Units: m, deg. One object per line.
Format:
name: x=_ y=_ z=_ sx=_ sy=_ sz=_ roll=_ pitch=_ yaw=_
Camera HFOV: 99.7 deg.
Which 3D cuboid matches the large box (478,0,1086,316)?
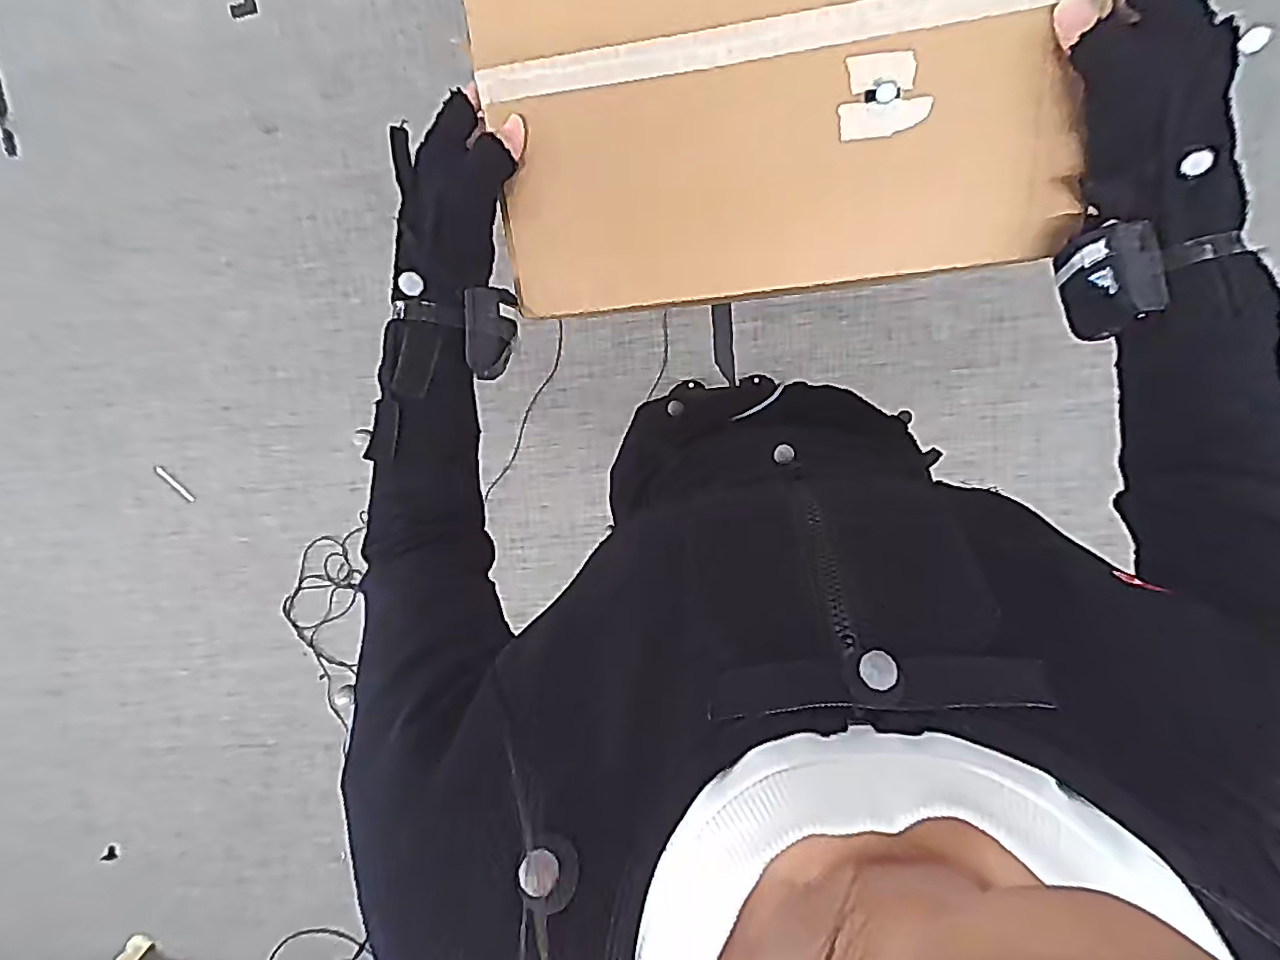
large box: x=0.100 y=-0.340 z=0.510 sx=0.408 sy=0.320 sz=0.320 roll=-5 pitch=107 yaw=6
